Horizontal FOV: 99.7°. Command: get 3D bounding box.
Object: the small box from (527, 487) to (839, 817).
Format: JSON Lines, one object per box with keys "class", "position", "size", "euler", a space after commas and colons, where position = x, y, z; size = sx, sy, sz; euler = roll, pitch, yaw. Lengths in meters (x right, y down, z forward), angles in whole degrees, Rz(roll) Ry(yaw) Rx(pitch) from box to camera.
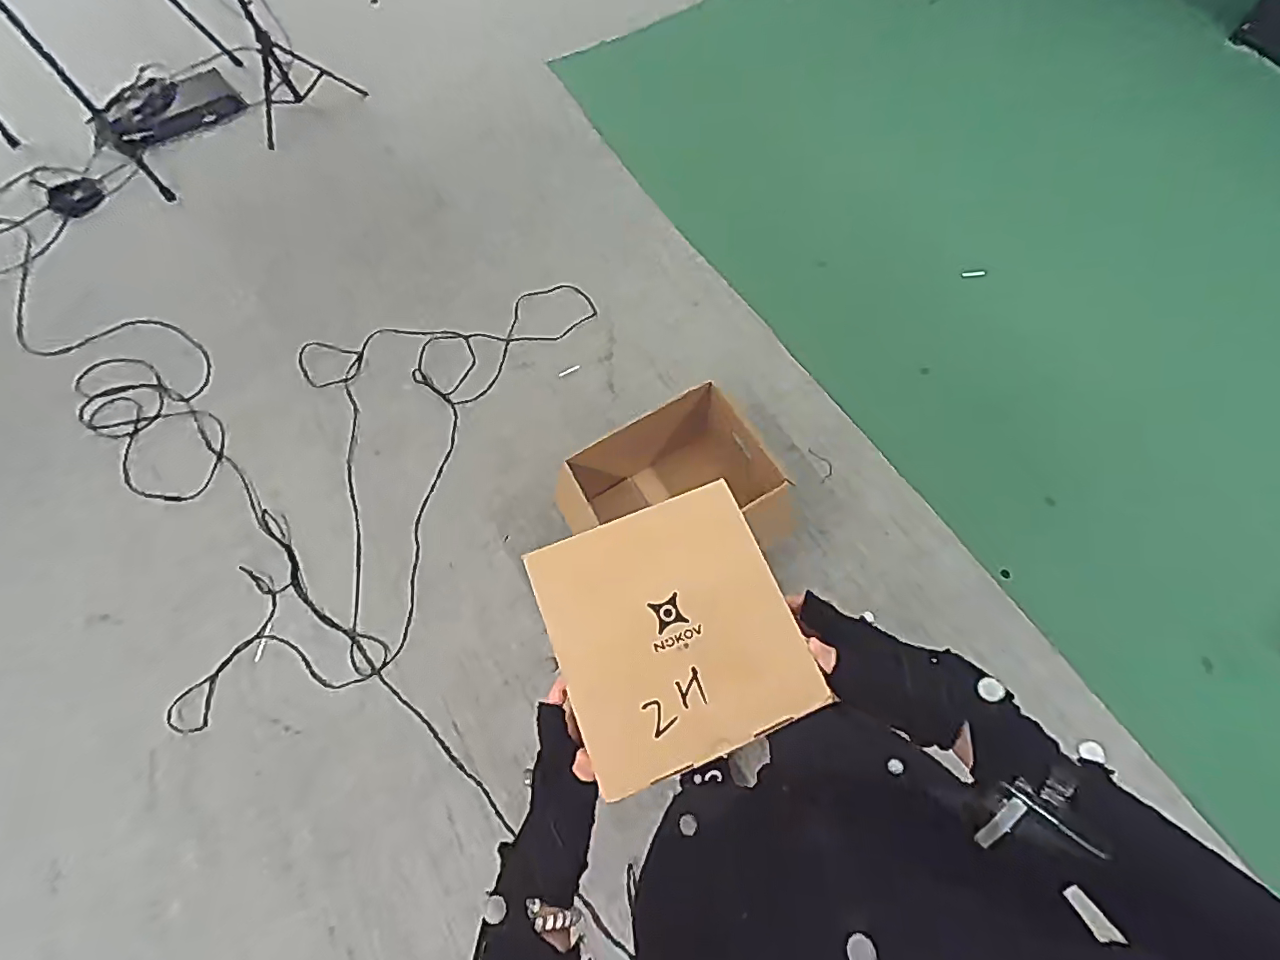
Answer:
{"class": "small box", "position": [0.022, 0.134, 0.440], "size": [0.168, 0.176, 0.179], "euler": [-21, 71, -8]}
